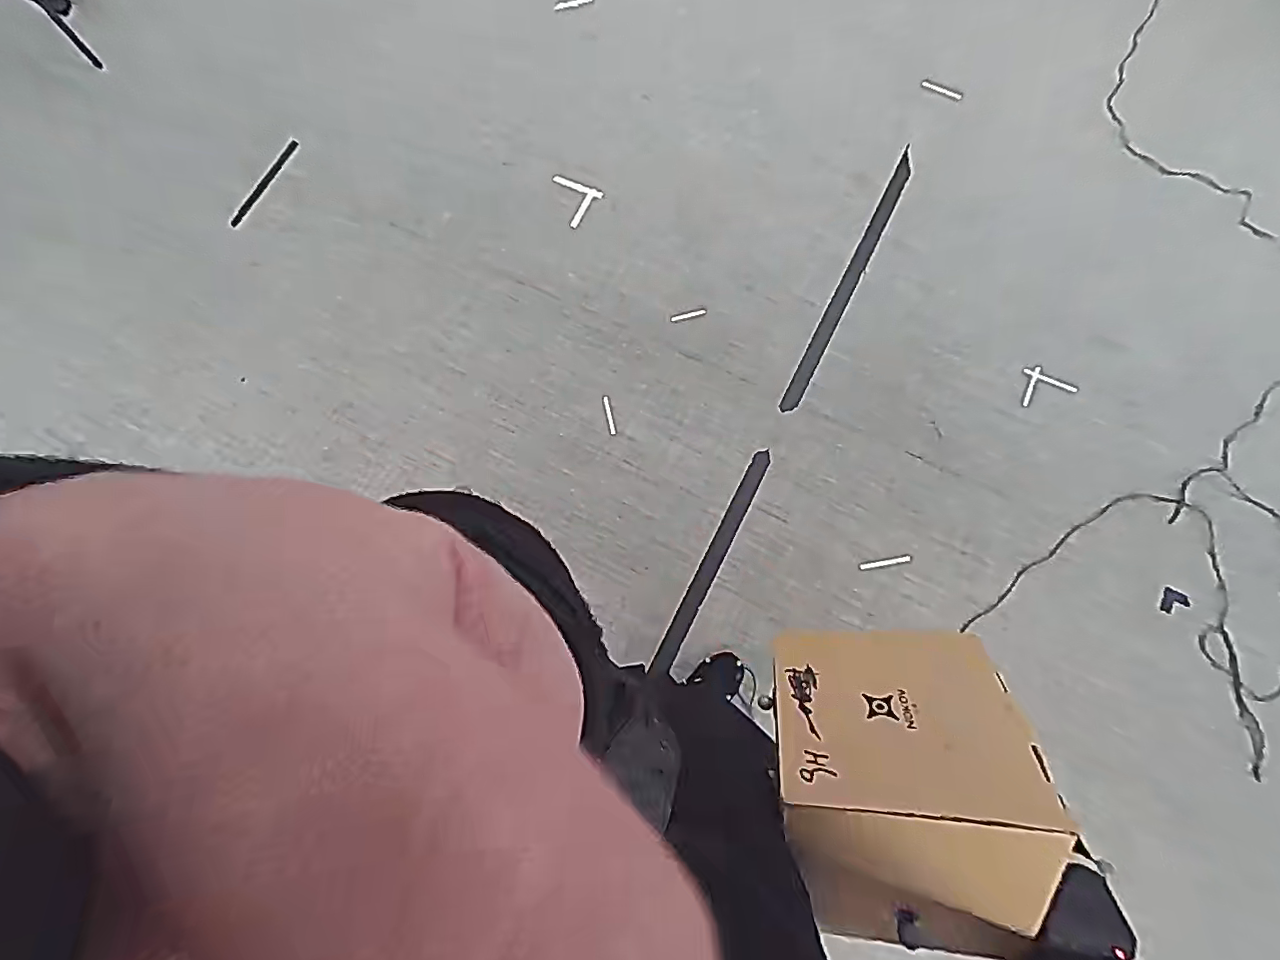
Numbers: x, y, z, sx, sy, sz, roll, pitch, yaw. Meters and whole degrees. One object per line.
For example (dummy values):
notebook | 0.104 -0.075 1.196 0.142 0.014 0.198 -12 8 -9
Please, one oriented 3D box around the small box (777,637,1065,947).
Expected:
small box | 0.212 0.260 0.467 0.179 0.168 0.176 -2 117 12
